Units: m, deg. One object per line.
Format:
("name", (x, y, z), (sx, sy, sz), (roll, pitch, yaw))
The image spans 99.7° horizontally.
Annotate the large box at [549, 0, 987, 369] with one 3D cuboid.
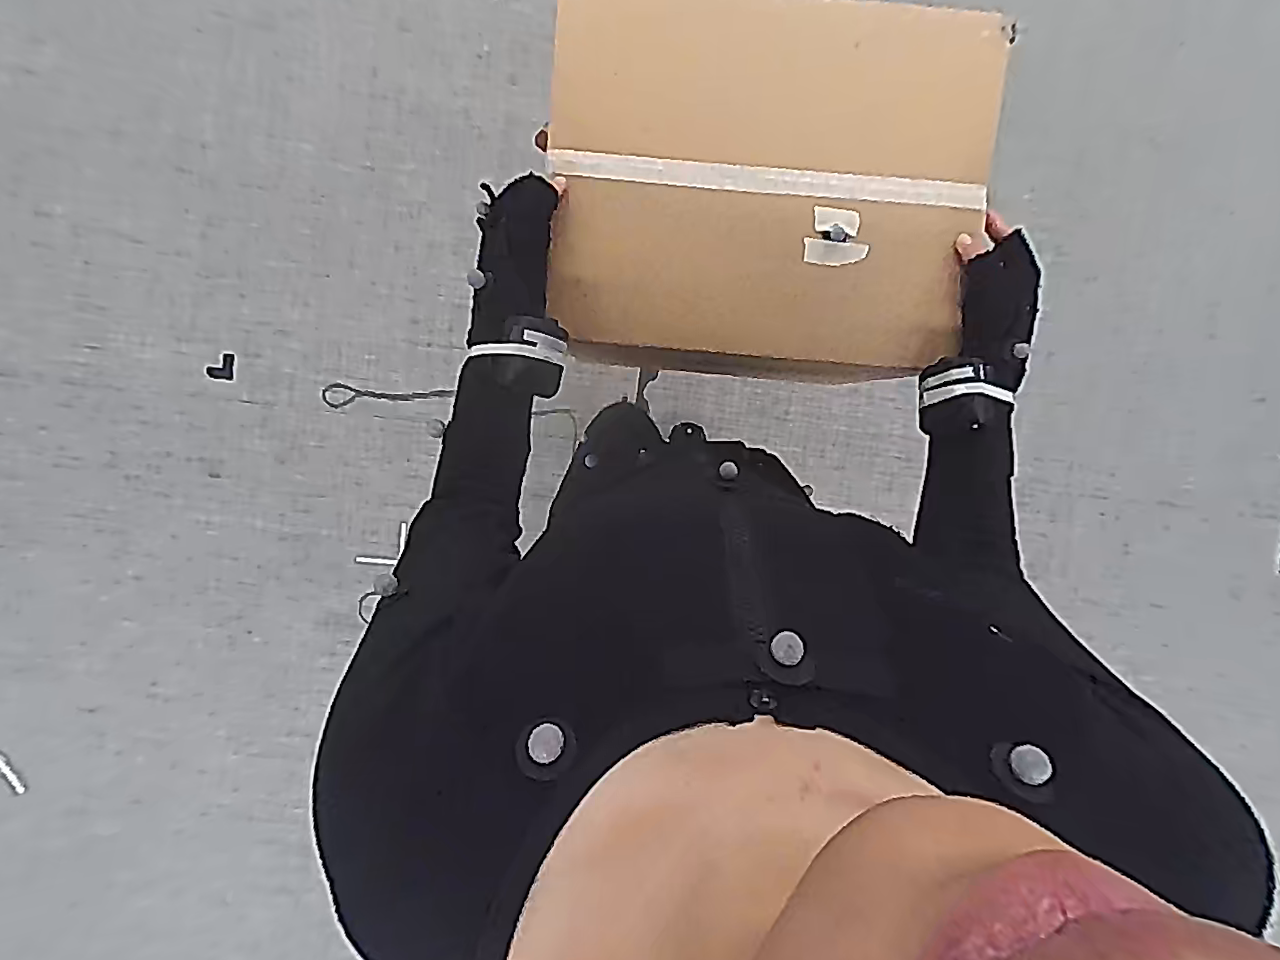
("large box", (0.112, -0.311, 0.662), (0.408, 0.320, 0.320), (4, 99, -1))
